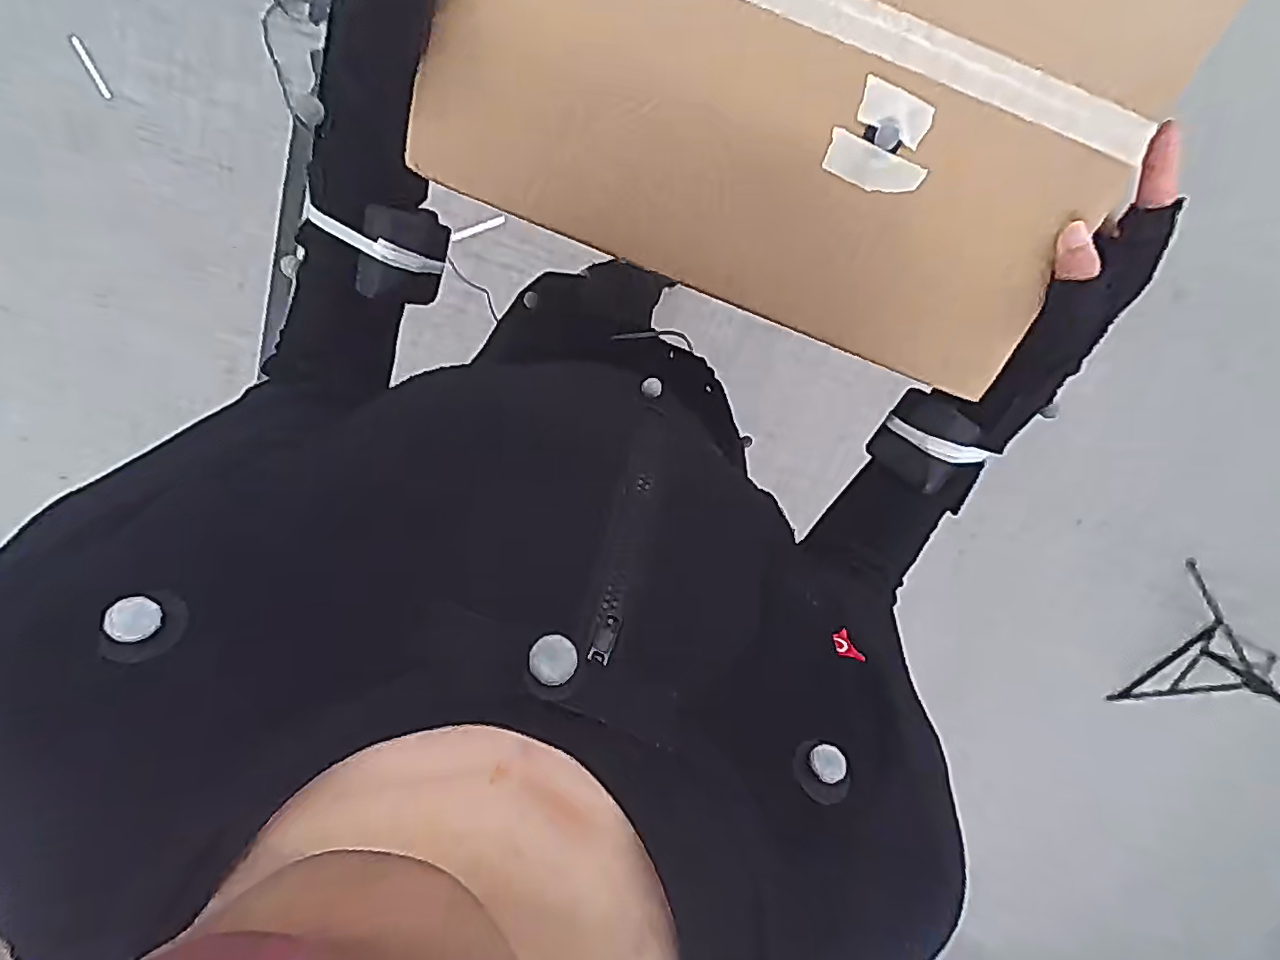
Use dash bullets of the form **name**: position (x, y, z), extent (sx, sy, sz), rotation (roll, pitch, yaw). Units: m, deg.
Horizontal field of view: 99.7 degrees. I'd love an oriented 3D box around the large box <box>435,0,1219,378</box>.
- **large box**: position (0.111, -0.325, 0.443), extent (0.408, 0.320, 0.320), rotation (21, 114, -4)
